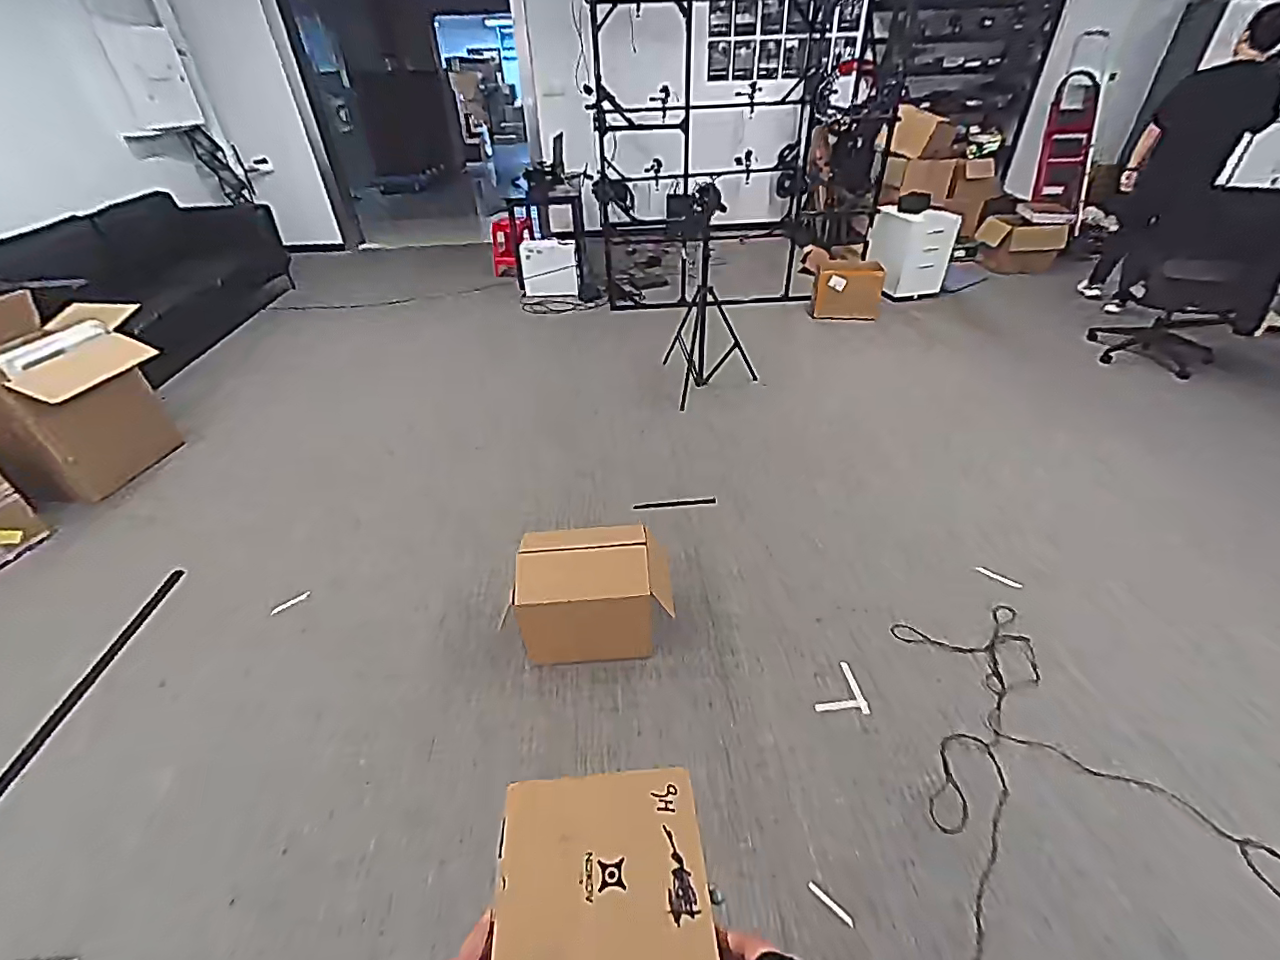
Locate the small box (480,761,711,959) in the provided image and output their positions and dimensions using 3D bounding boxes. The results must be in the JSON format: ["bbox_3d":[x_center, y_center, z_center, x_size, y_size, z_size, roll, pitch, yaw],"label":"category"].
[{"bbox_3d":[-0.036,0.392,0.501,0.179,0.176,0.168,-4,35,-4],"label":"small box"}]
